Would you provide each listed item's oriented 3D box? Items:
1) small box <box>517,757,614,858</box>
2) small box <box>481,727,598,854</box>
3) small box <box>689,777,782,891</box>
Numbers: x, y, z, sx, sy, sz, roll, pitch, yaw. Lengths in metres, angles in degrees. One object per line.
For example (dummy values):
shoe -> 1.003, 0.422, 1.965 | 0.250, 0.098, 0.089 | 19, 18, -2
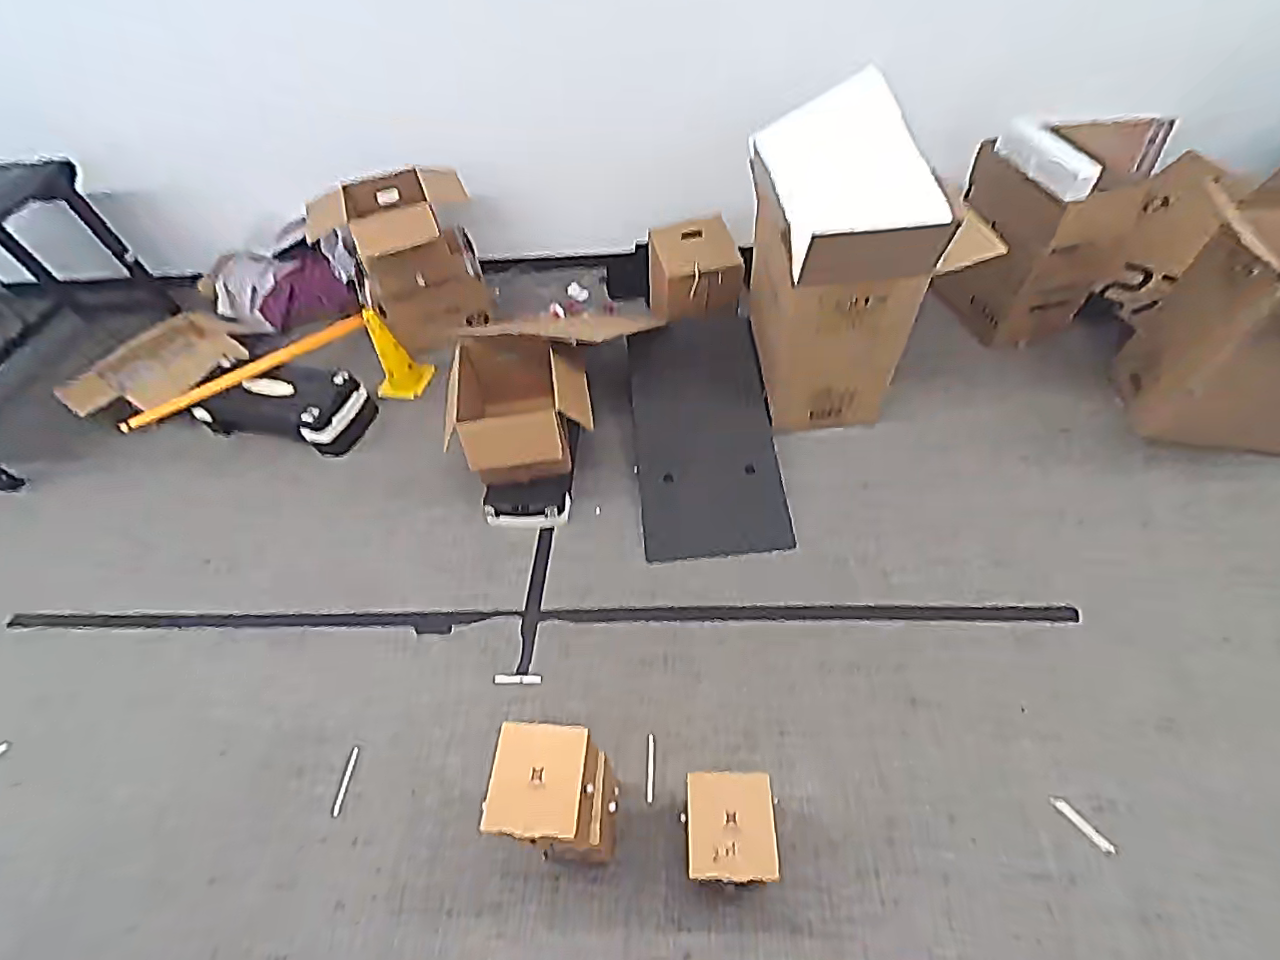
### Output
small box -> -0.154, 0.685, 1.132 | 0.179, 0.176, 0.168 | 0, 52, 4
small box -> -0.175, 0.580, 1.009 | 0.168, 0.176, 0.179 | 1, 53, 5
small box -> 0.182, 0.711, 1.084 | 0.168, 0.176, 0.179 | -2, 52, 5
